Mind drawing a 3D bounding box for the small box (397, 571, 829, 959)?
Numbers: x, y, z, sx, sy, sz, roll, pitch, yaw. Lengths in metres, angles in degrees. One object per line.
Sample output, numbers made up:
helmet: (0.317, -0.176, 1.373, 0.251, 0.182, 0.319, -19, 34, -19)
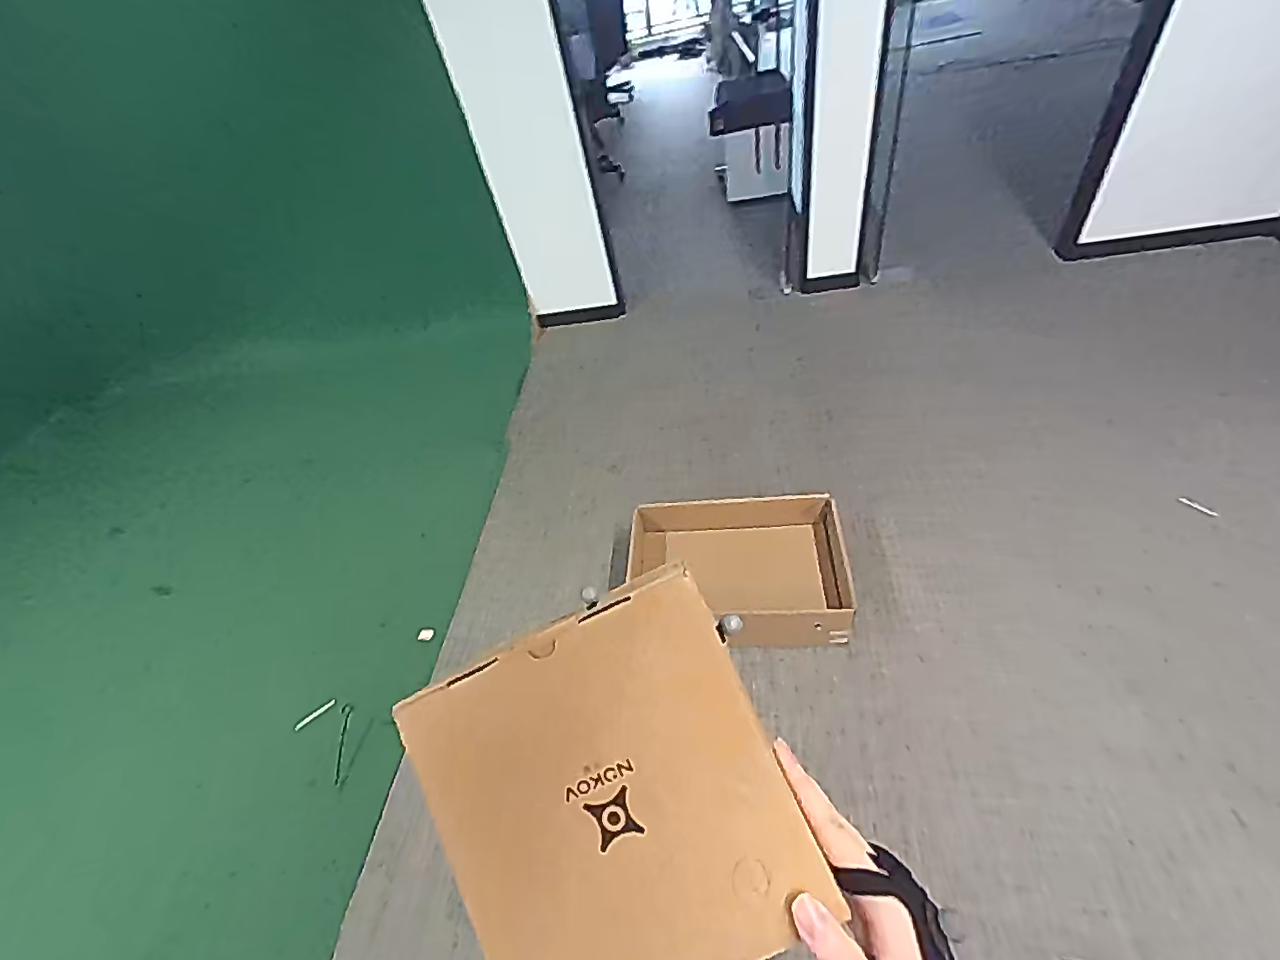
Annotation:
small box: (-0.011, 0.169, 0.344, 0.168, 0.176, 0.179, -26, 81, 0)
